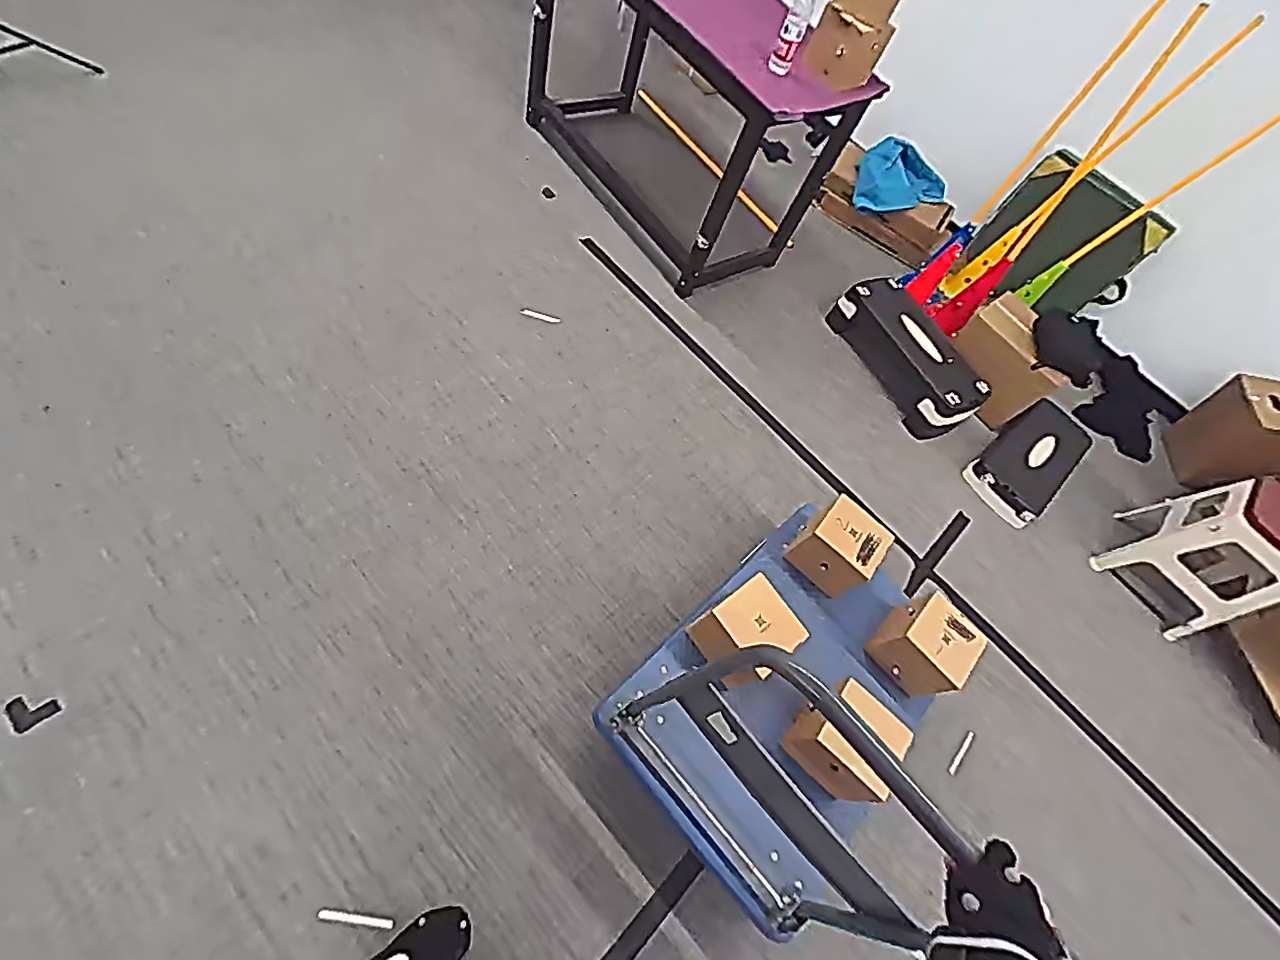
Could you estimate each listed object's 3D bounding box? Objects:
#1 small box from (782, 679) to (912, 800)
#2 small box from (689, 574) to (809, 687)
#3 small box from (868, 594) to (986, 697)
[{"bbox_3d":[0.447,0.575,1.193,0.179,0.176,0.168,43,59,8],"label":"small box"},{"bbox_3d":[0.243,0.353,1.251,0.168,0.176,0.179,-29,75,-29],"label":"small box"},{"bbox_3d":[0.714,0.420,1.363,0.179,0.176,0.168,-36,77,-29],"label":"small box"}]
